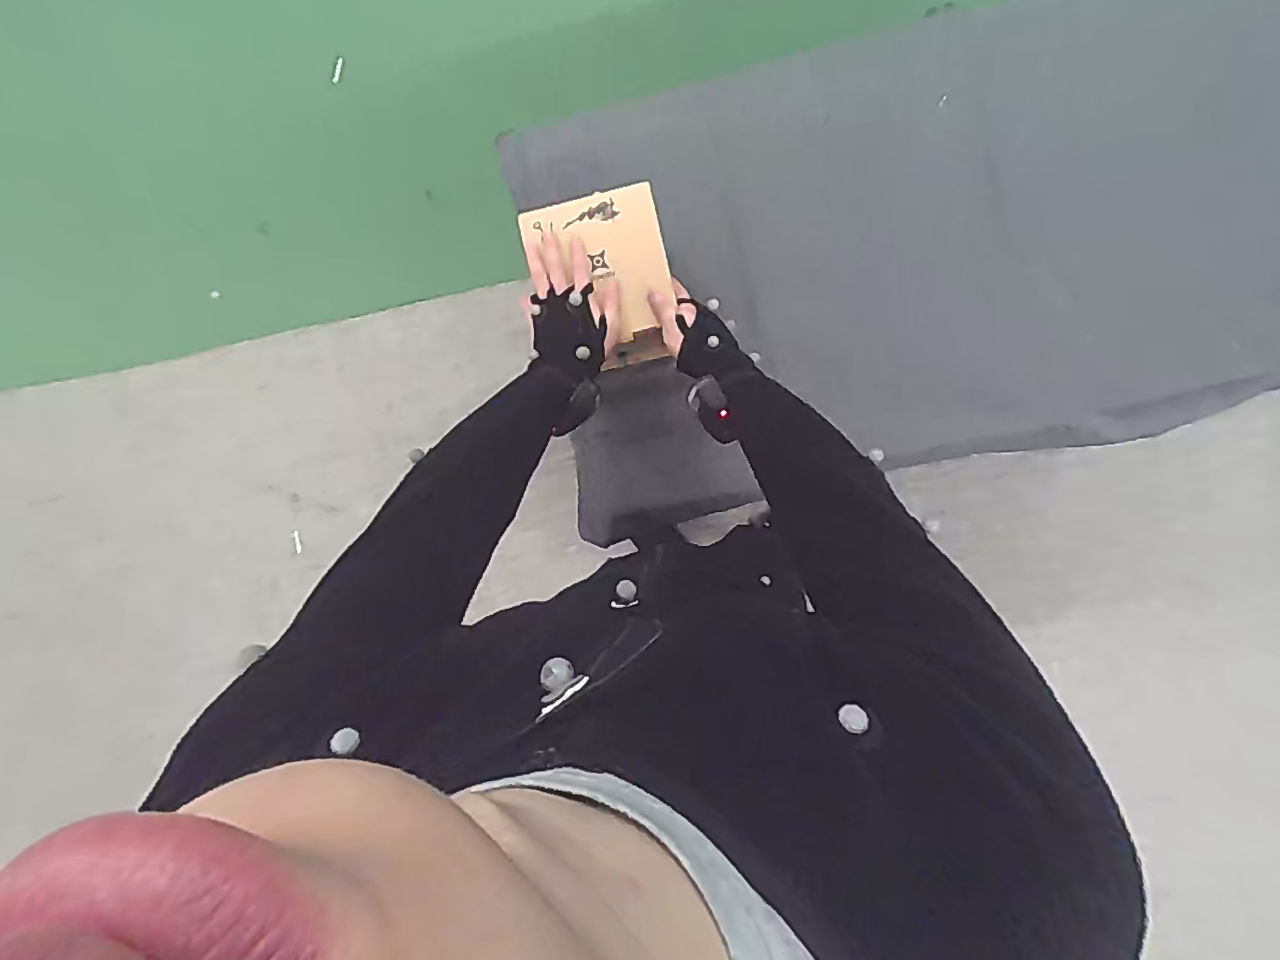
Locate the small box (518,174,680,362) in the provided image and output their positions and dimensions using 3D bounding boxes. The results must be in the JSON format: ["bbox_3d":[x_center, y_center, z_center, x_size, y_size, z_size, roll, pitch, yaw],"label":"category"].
[{"bbox_3d":[-0.045,-0.263,0.719,0.168,0.176,0.179,-13,93,1],"label":"small box"}]
